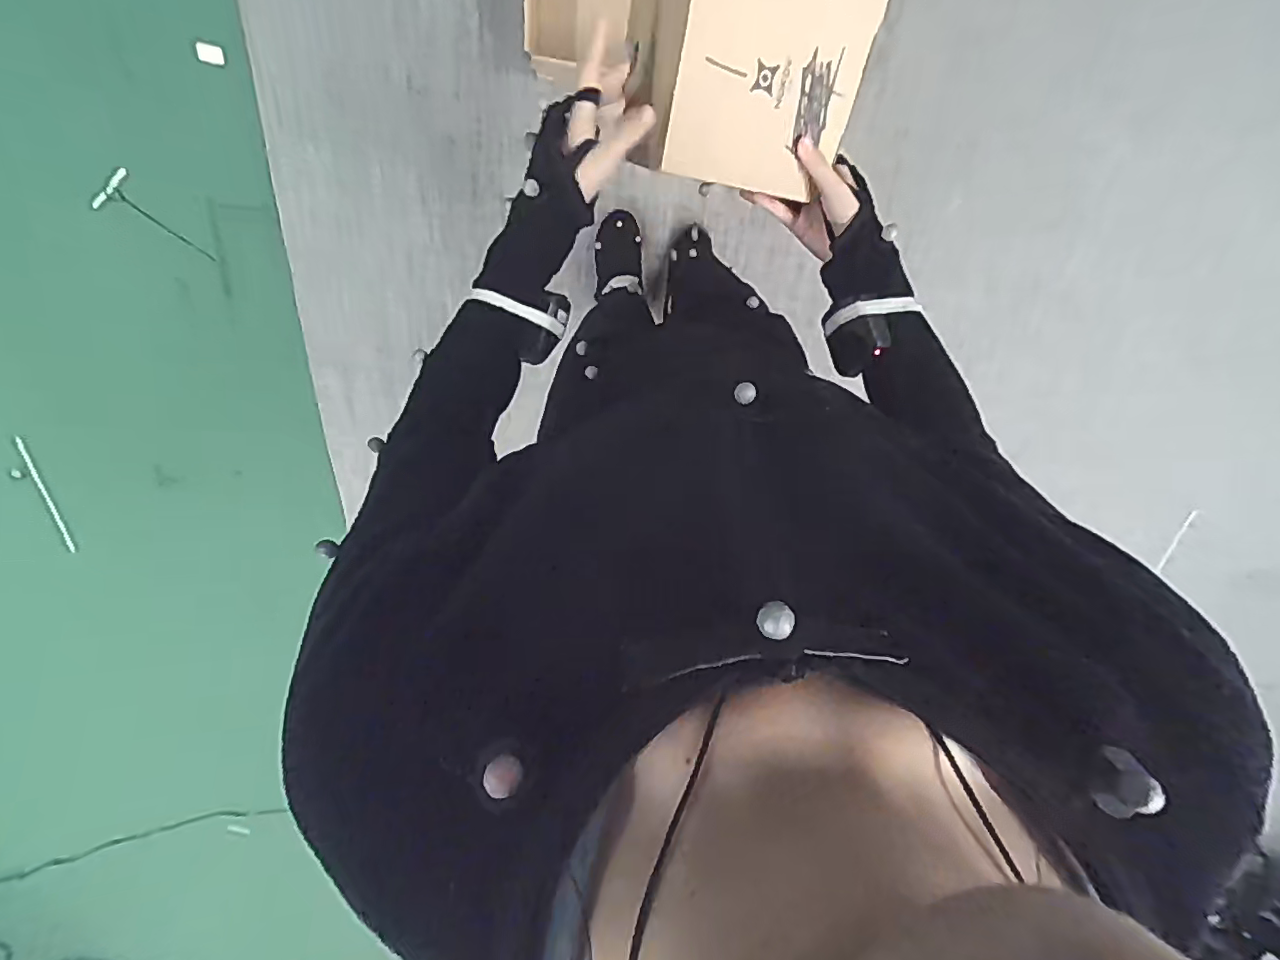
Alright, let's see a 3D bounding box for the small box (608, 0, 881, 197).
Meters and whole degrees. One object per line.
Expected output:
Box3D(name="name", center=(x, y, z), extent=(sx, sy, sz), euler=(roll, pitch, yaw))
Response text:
Box3D(name="small box", center=(0.083, -0.389, 0.517), extent=(0.179, 0.176, 0.168), euler=(1, 123, -20))
